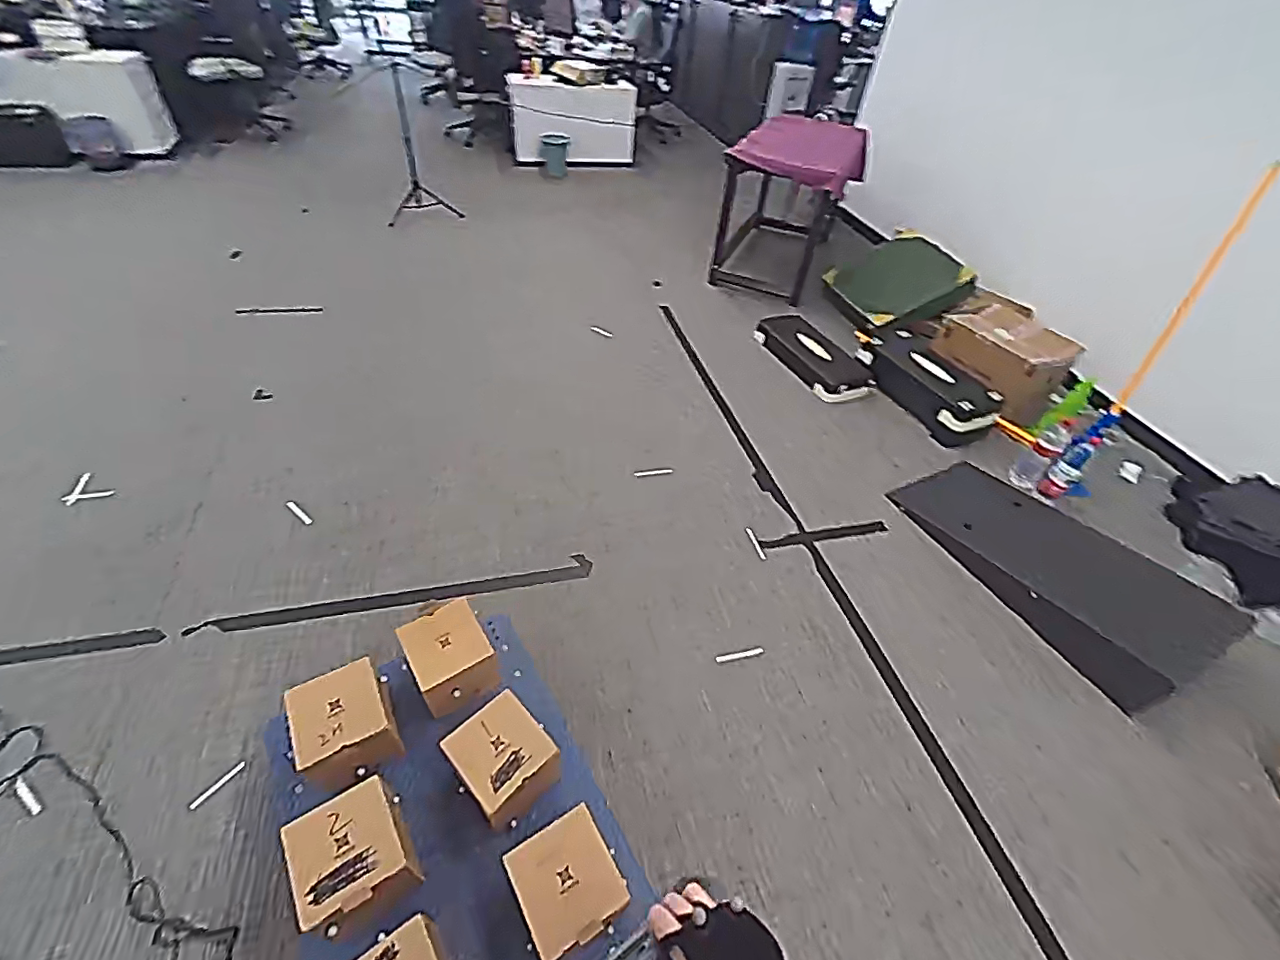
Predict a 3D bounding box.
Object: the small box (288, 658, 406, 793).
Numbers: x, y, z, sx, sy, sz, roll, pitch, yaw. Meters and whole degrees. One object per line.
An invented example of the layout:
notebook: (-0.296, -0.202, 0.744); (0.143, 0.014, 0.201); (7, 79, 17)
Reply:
small box: (-0.618, 0.521, 1.148); (0.168, 0.176, 0.179); (-21, 52, -25)

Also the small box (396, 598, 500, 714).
small box: (-0.445, 0.420, 1.271); (0.168, 0.176, 0.179); (-25, 53, -28)

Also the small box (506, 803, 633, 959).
small box: (-0.129, 0.744, 0.993); (0.168, 0.176, 0.179); (-22, 51, -26)

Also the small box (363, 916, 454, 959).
small box: (-0.374, 0.847, 0.858); (0.168, 0.176, 0.179); (-25, 54, -29)

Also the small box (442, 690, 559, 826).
small box: (-0.282, 0.585, 1.128); (0.179, 0.176, 0.168); (37, 52, 27)
